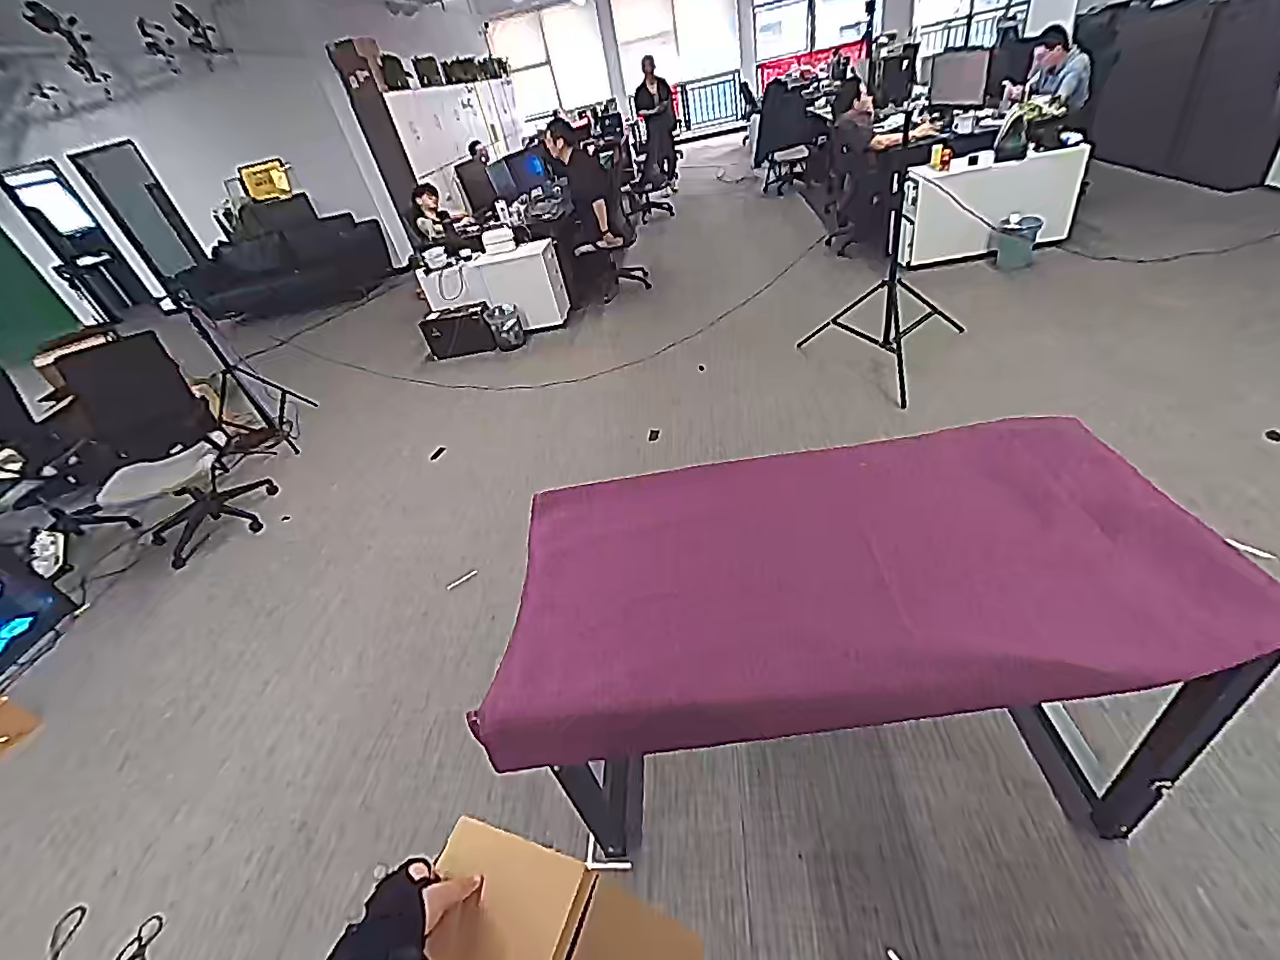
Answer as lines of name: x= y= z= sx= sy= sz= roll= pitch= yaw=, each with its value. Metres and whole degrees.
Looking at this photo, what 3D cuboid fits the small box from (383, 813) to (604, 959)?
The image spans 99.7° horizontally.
small box: x=-0.151 y=0.513 z=0.604 sx=0.179 sy=0.176 sz=0.168 roll=13 pitch=46 yaw=16
